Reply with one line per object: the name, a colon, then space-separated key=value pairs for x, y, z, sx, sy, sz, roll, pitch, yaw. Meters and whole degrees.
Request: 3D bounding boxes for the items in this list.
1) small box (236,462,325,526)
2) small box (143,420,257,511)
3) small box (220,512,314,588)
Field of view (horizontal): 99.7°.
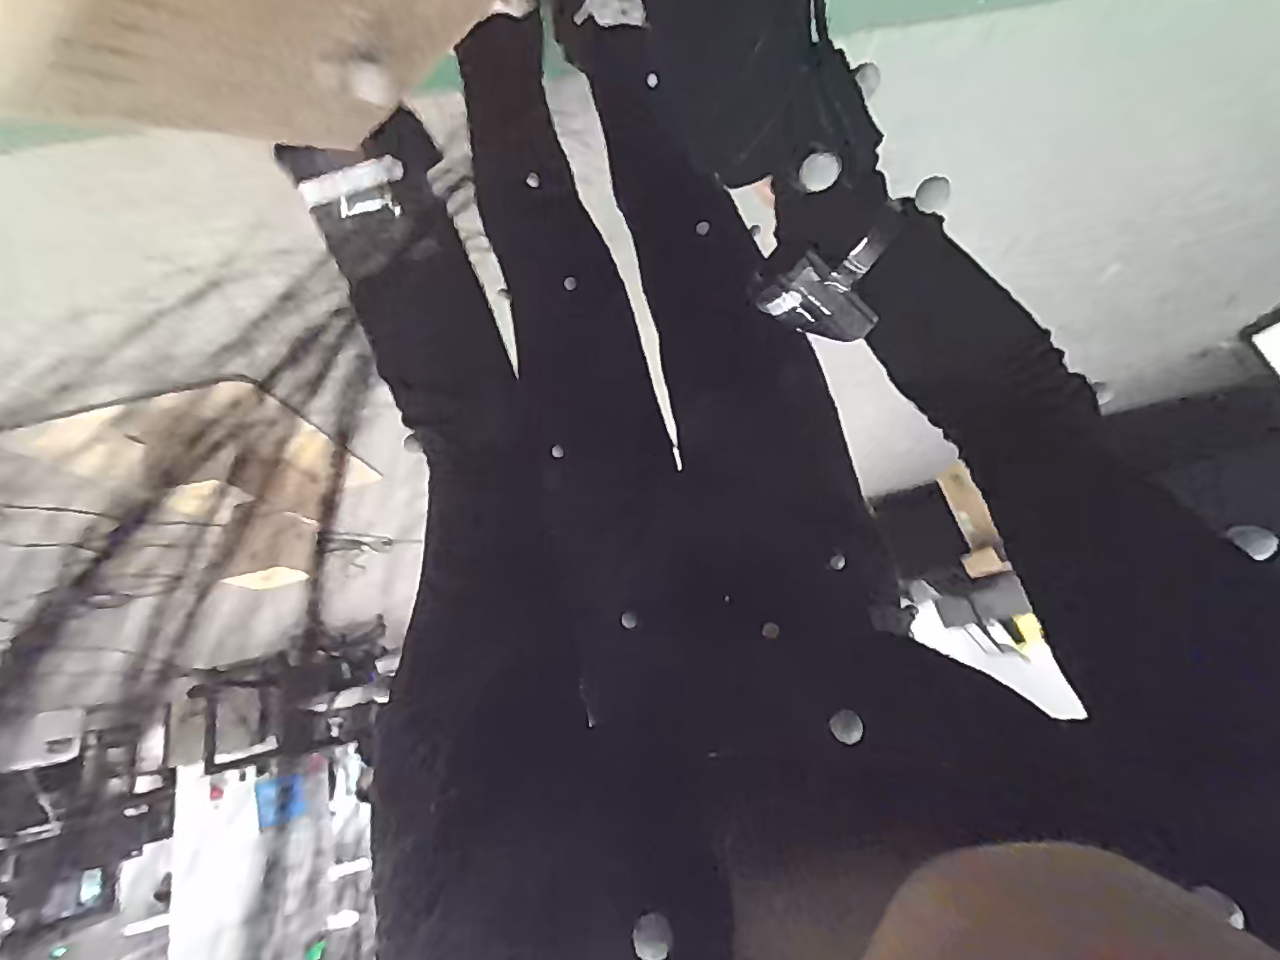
small box: x=-1.116 y=0.057 z=1.678 sx=0.179 sy=0.176 sz=0.168 roll=-14 pitch=160 yaw=-1
small box: x=-1.141 y=-0.037 z=1.416 sx=0.179 sy=0.176 sz=0.168 roll=-13 pitch=161 yaw=-7
small box: x=-1.106 y=0.210 z=1.617 sx=0.179 sy=0.176 sz=0.168 roll=-13 pitch=160 yaw=-3
